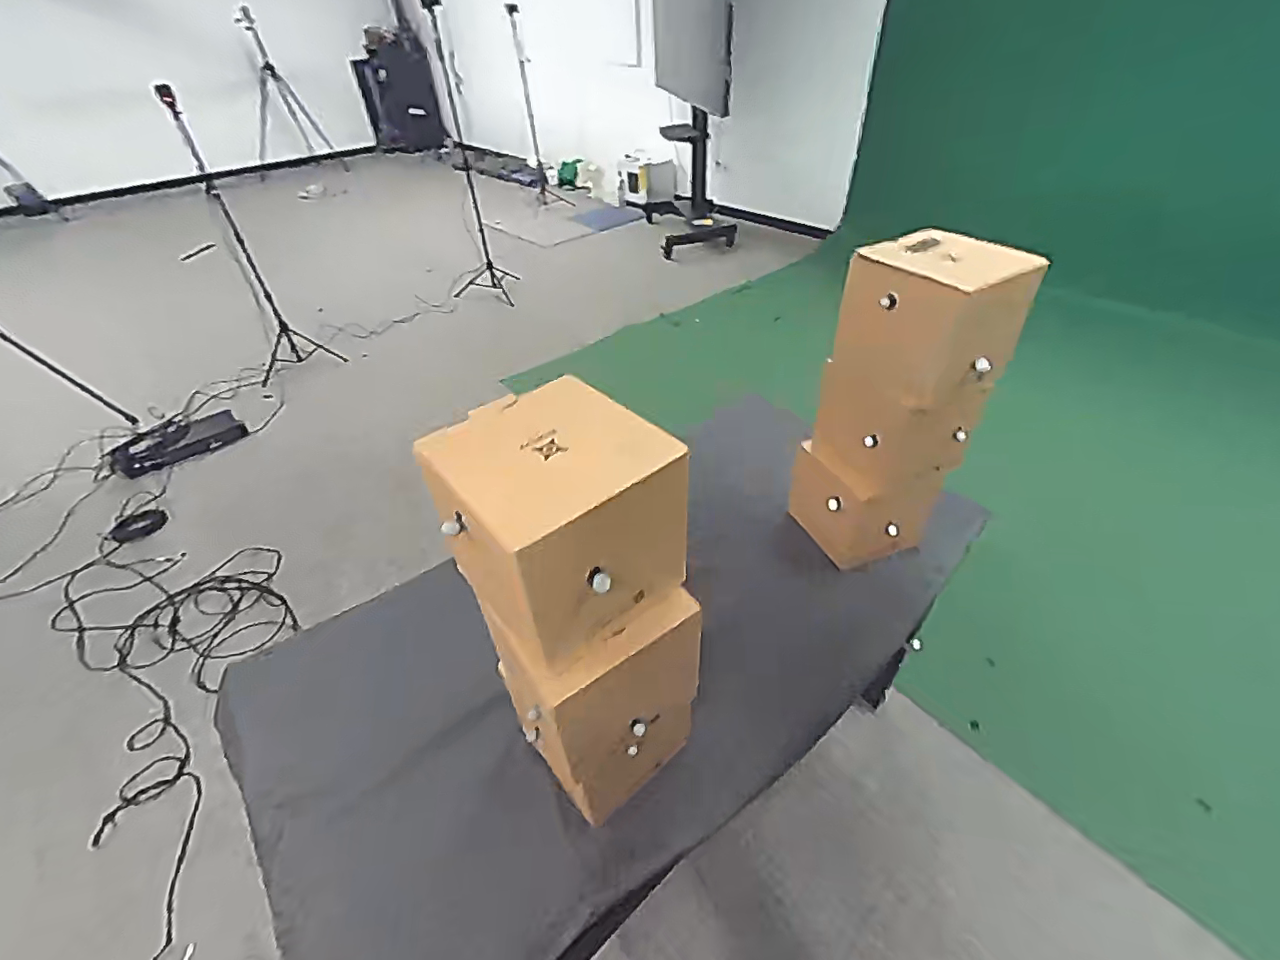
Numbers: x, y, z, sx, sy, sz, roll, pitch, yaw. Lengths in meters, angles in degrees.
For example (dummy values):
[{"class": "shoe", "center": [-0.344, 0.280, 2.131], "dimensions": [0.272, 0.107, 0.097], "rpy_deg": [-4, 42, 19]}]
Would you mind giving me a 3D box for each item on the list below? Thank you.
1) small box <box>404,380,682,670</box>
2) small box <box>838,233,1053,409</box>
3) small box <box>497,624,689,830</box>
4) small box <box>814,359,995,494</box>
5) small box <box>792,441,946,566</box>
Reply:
[{"class": "small box", "center": [-0.076, 0.042, 0.487], "dimensions": [0.168, 0.176, 0.179], "rpy_deg": [-31, 47, -28]}, {"class": "small box", "center": [0.402, -0.222, 0.747], "dimensions": [0.168, 0.176, 0.179], "rpy_deg": [-23, 44, -22]}, {"class": "small box", "center": [-0.055, 0.297, 0.691], "dimensions": [0.168, 0.176, 0.179], "rpy_deg": [-31, 47, -28]}, {"class": "small box", "center": [0.402, -0.096, 0.854], "dimensions": [0.168, 0.176, 0.179], "rpy_deg": [-18, 41, -18]}, {"class": "small box", "center": [0.391, 0.030, 0.956], "dimensions": [0.168, 0.176, 0.179], "rpy_deg": [-15, 40, -13]}]
